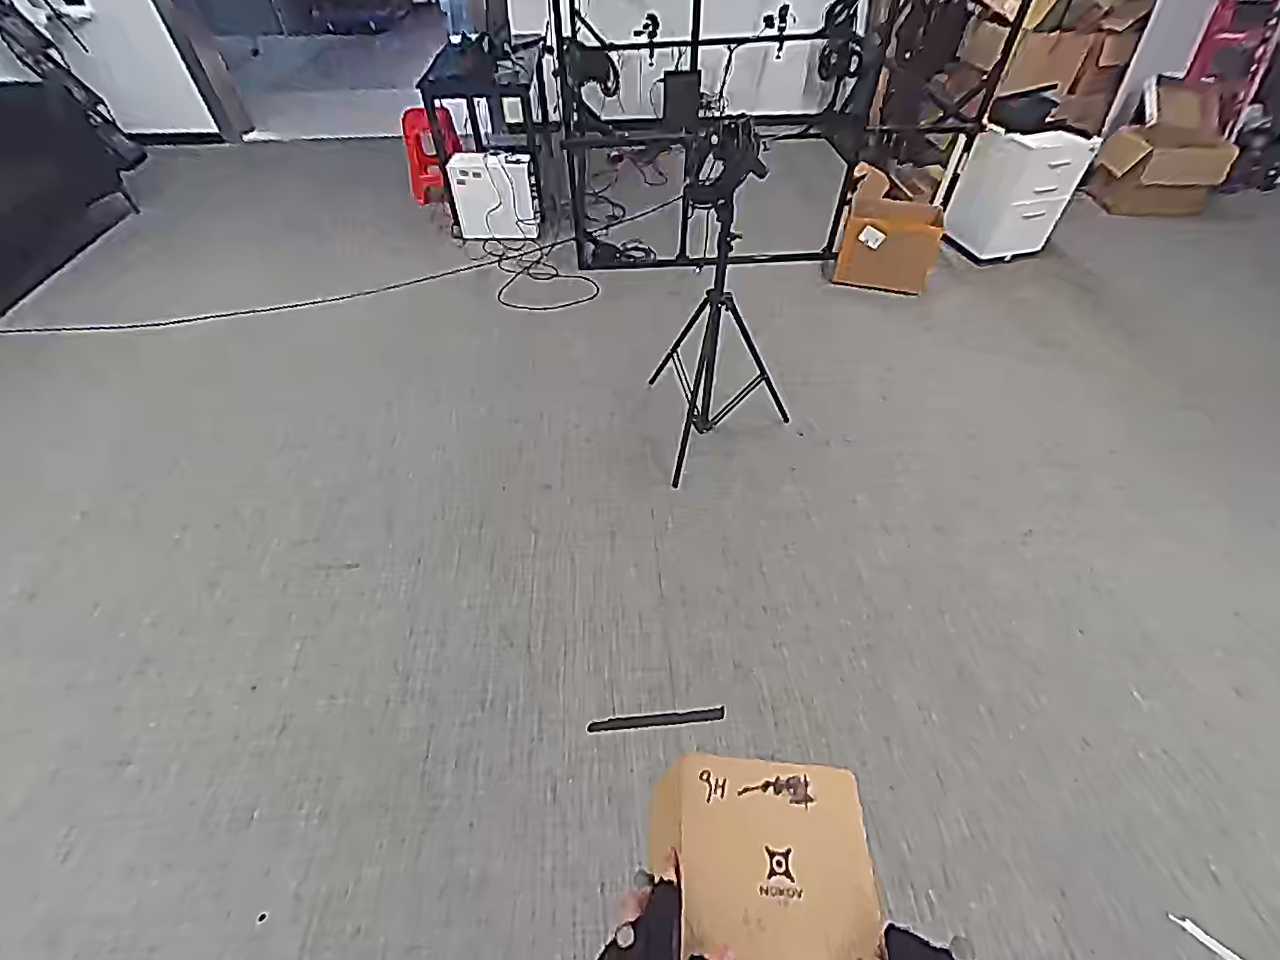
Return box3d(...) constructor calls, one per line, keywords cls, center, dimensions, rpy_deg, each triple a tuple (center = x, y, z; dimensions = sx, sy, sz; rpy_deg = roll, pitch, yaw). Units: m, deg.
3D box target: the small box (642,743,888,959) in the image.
box3d(cls="small box", center=(0.098, 0.361, 0.493), dimensions=(0.168, 0.176, 0.179), rpy_deg=(9, 51, -5))
